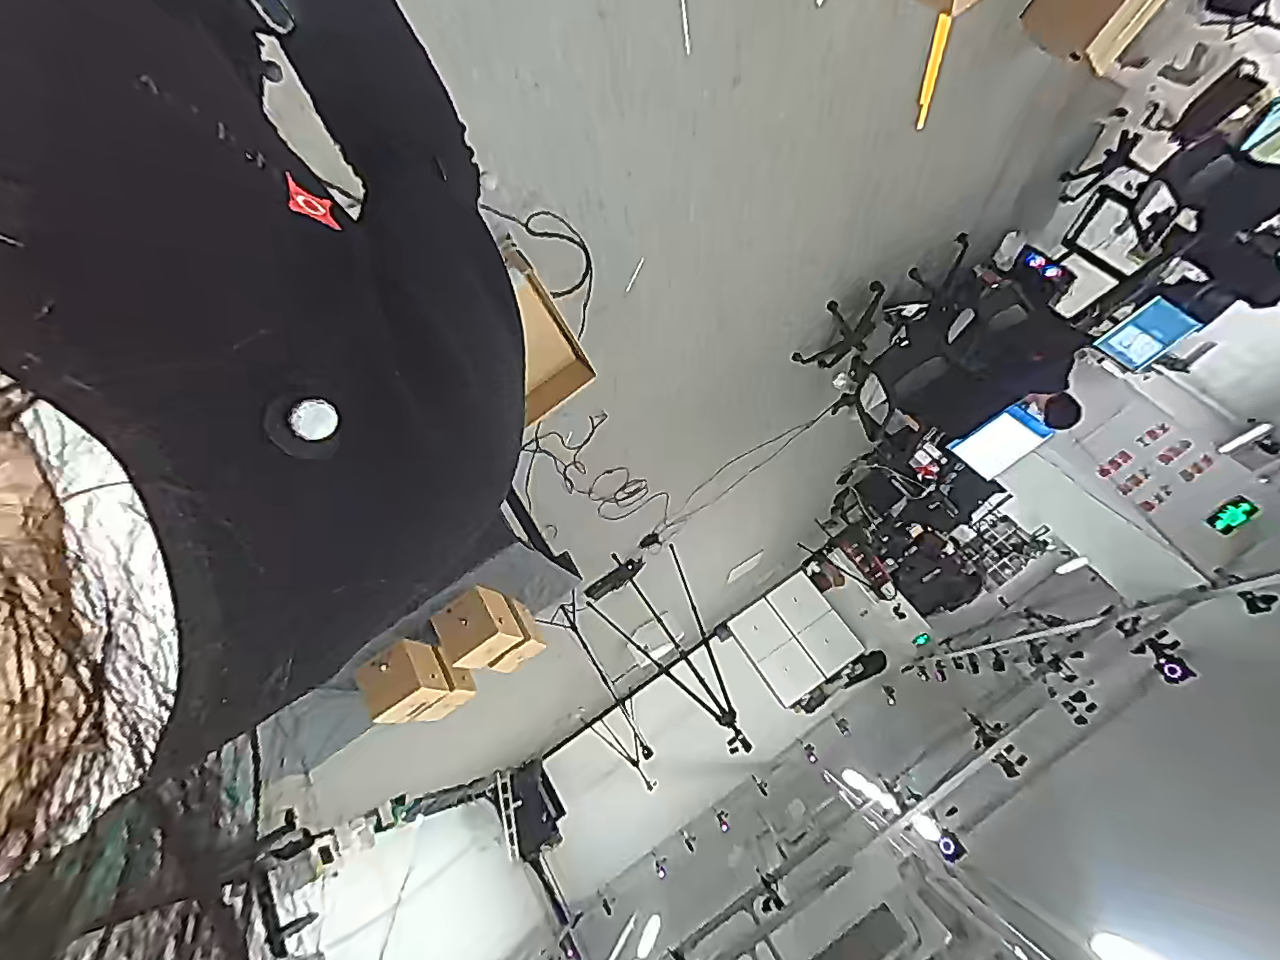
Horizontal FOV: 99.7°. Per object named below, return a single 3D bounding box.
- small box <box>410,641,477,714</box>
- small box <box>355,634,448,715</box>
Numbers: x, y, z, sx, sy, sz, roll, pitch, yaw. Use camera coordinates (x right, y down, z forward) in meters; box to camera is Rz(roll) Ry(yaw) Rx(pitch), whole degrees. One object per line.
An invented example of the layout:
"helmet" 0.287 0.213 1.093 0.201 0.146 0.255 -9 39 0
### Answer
"small box" -0.682 0.659 1.810 0.168 0.176 0.179 -33 155 -7
"small box" -0.715 0.583 1.623 0.168 0.176 0.179 -33 155 -7
